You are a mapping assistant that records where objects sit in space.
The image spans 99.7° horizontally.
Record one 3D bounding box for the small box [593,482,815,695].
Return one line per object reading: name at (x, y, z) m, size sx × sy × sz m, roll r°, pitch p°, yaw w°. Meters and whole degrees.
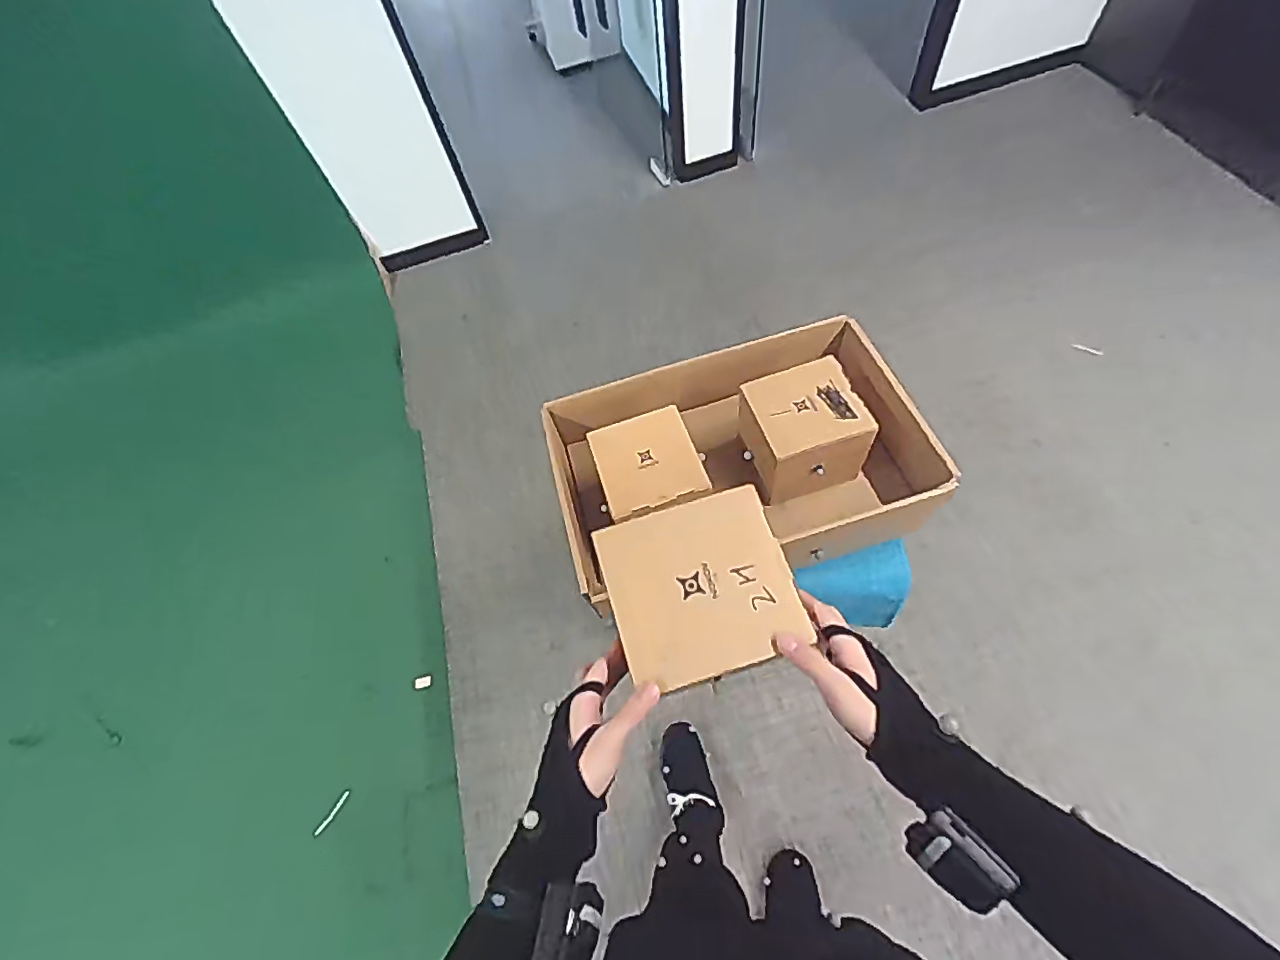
small box at (0.062, 0.127, 0.590) m, size 0.179 × 0.176 × 0.168 m, roll -17°, pitch 67°, yaw -4°
